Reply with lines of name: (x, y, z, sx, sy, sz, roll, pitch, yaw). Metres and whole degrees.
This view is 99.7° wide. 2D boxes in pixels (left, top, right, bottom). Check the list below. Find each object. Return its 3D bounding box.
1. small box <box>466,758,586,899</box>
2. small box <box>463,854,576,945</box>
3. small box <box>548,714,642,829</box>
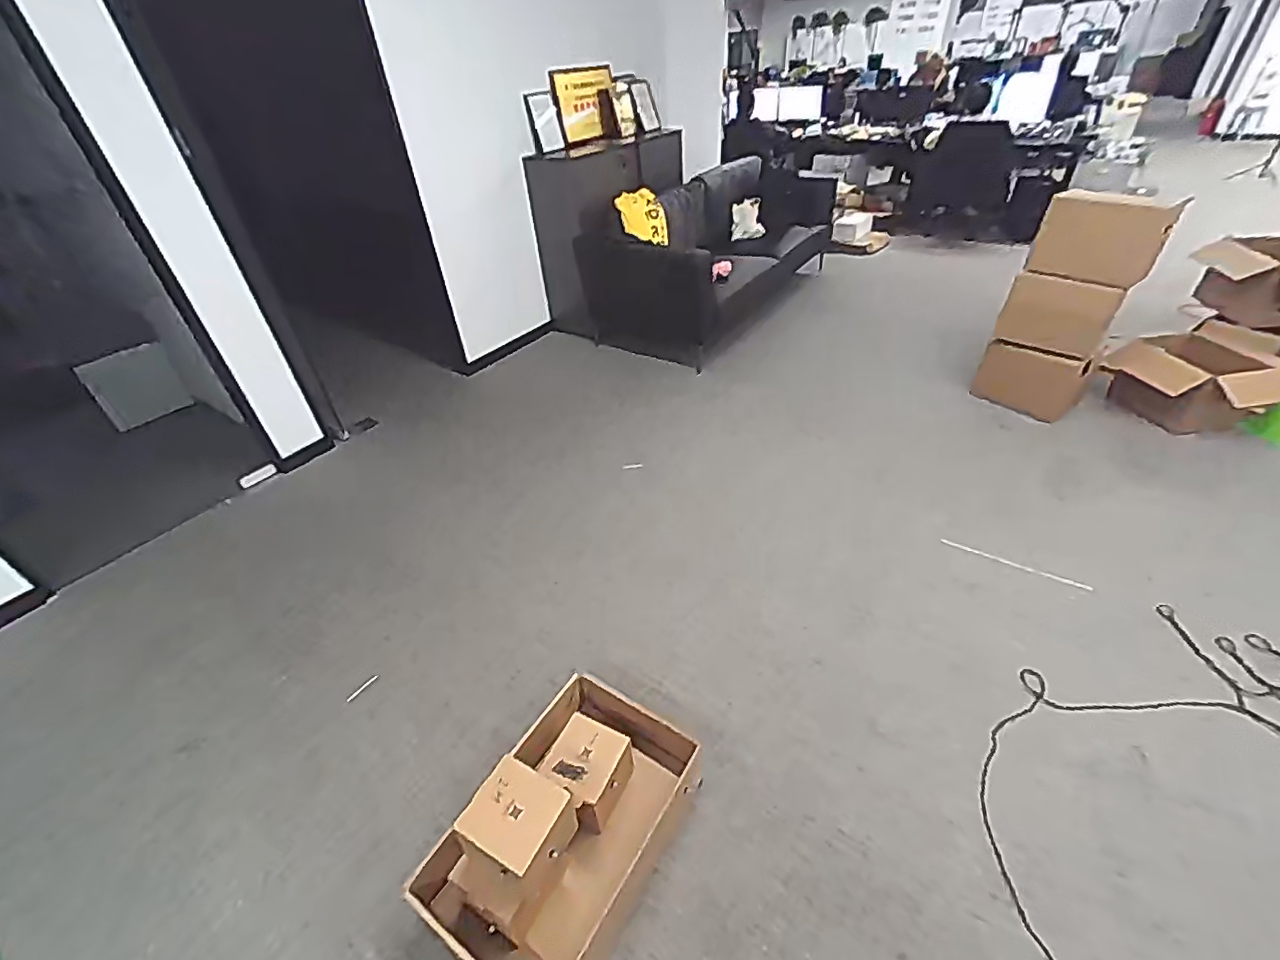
small box: (-0.228, 0.731, 1.131, 0.179, 0.176, 0.168, 17, 41, 24)
small box: (-0.259, 0.881, 1.207, 0.168, 0.176, 0.179, 18, 42, 25)
small box: (-0.104, 0.739, 1.368, 0.168, 0.176, 0.179, 15, 43, 24)
